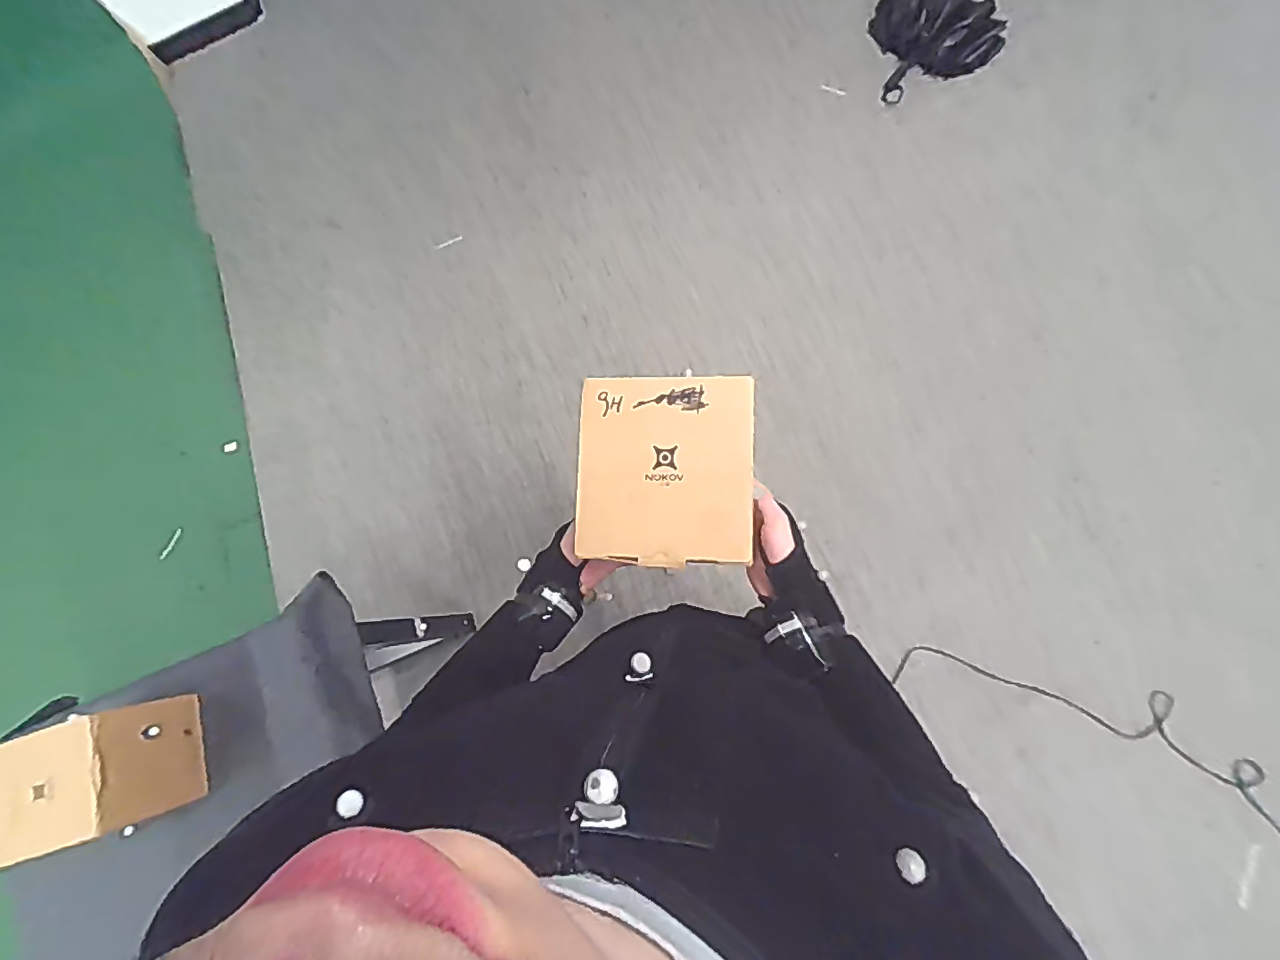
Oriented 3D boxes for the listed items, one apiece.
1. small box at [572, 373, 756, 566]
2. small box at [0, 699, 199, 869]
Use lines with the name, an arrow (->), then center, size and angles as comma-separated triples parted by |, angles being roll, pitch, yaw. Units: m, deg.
small box -> 0.033, -0.004, 0.571 | 0.168, 0.176, 0.179 | 1, 83, 8
small box -> -0.820, 0.450, 0.828 | 0.179, 0.176, 0.168 | -20, 74, 5
